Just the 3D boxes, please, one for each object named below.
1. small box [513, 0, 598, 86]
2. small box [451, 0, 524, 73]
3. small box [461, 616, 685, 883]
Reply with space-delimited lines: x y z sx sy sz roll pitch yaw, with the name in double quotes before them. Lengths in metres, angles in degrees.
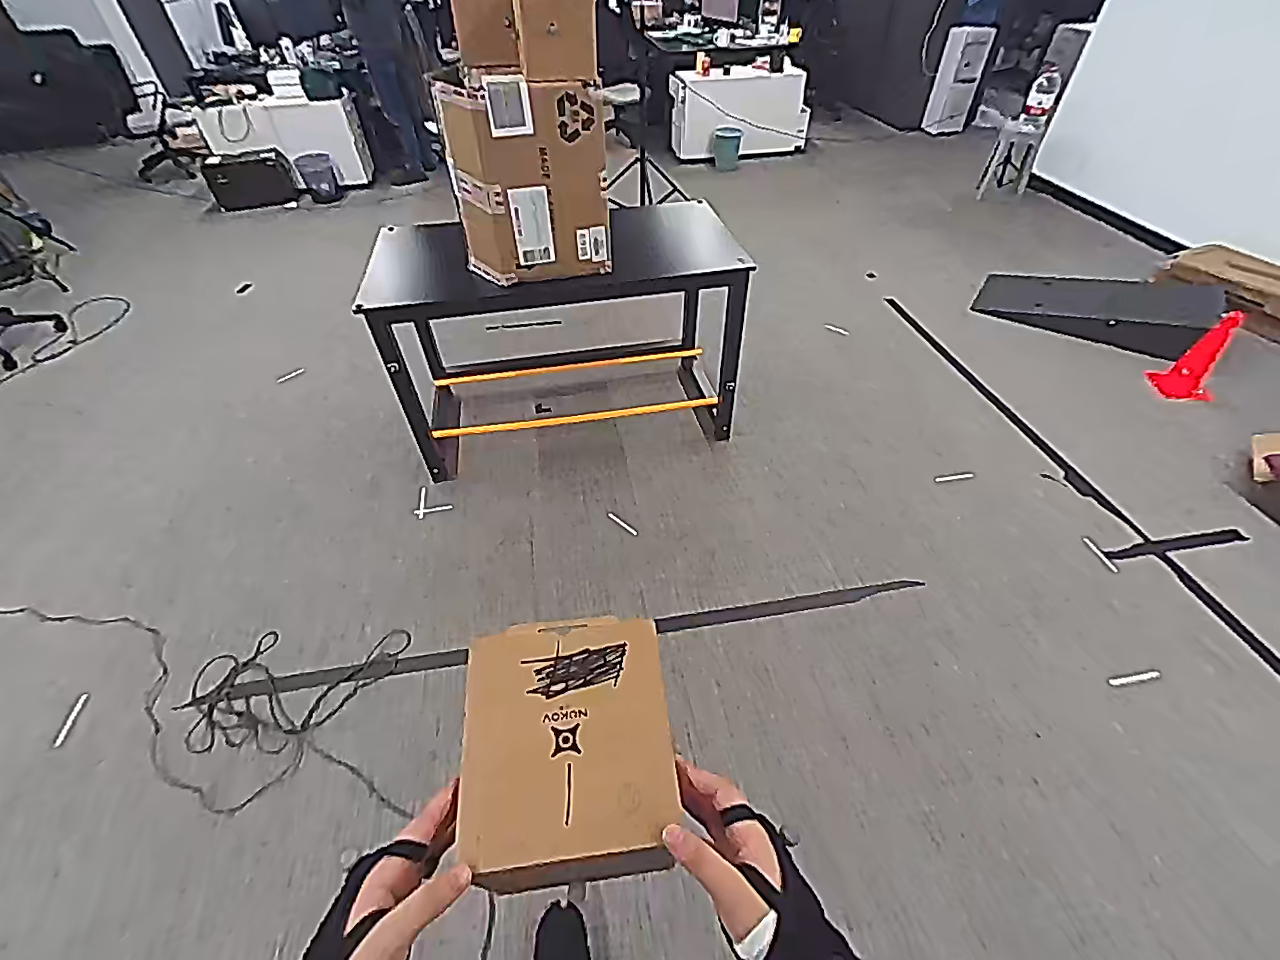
"small box" -0.206 -1.085 1.323 0.179 0.176 0.168 -10 48 -10
"small box" -0.398 -1.202 1.440 0.179 0.176 0.168 -10 43 -10
"small box" -0.058 0.250 0.504 0.168 0.176 0.179 -5 49 -5
